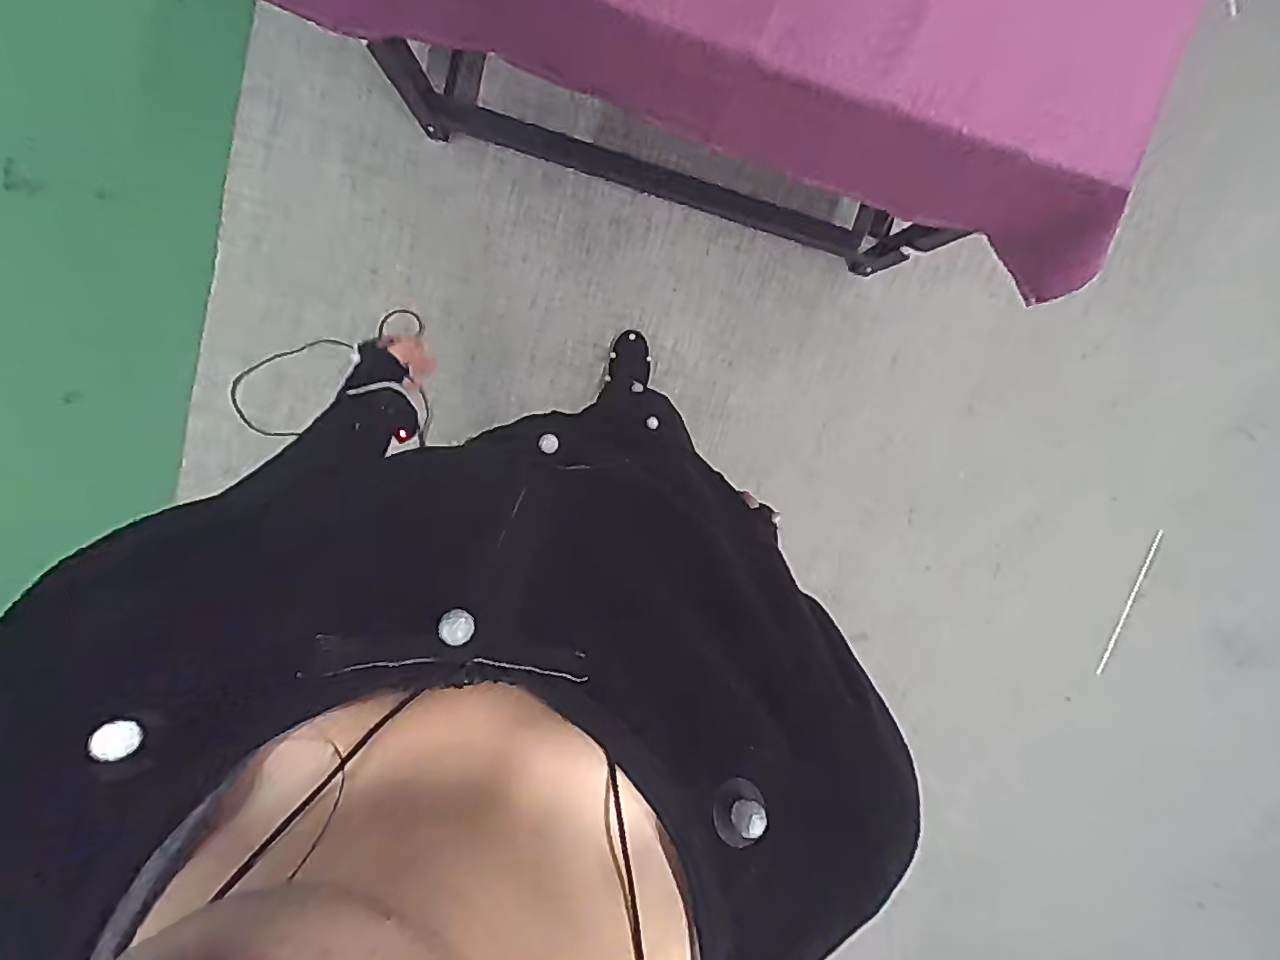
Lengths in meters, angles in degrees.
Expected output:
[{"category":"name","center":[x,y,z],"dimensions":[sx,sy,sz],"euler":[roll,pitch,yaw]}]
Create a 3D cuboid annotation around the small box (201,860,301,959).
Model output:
[{"category":"small box","center":[-1.049,1.164,1.450],"dimensions":[0.179,0.176,0.168],"euler":[13,96,-7]}]
